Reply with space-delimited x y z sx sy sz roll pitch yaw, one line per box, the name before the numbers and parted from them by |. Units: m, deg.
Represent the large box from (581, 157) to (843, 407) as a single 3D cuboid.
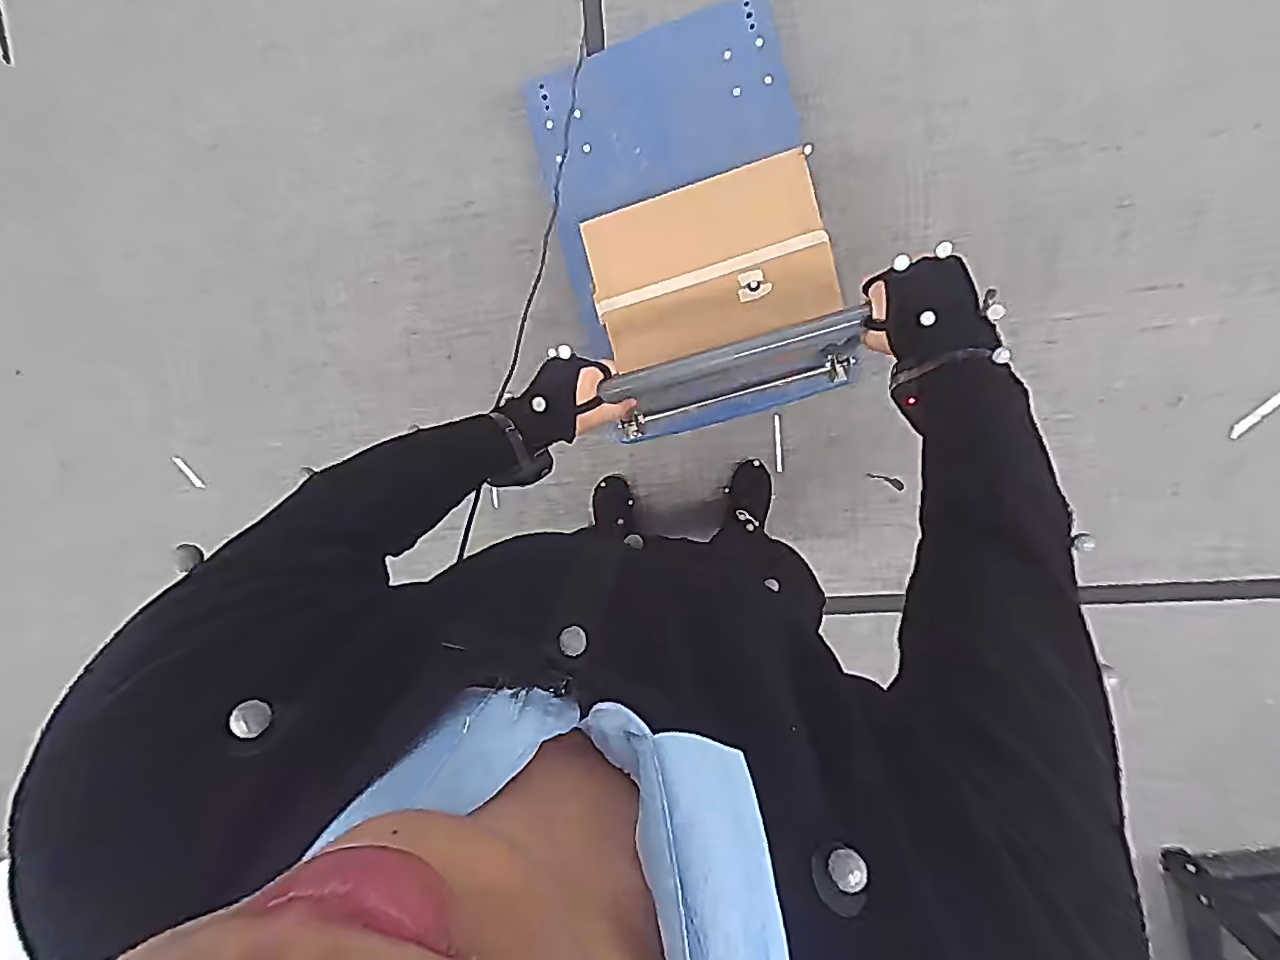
large box | 0.139 -0.358 1.095 0.408 0.320 0.320 -15 92 8
